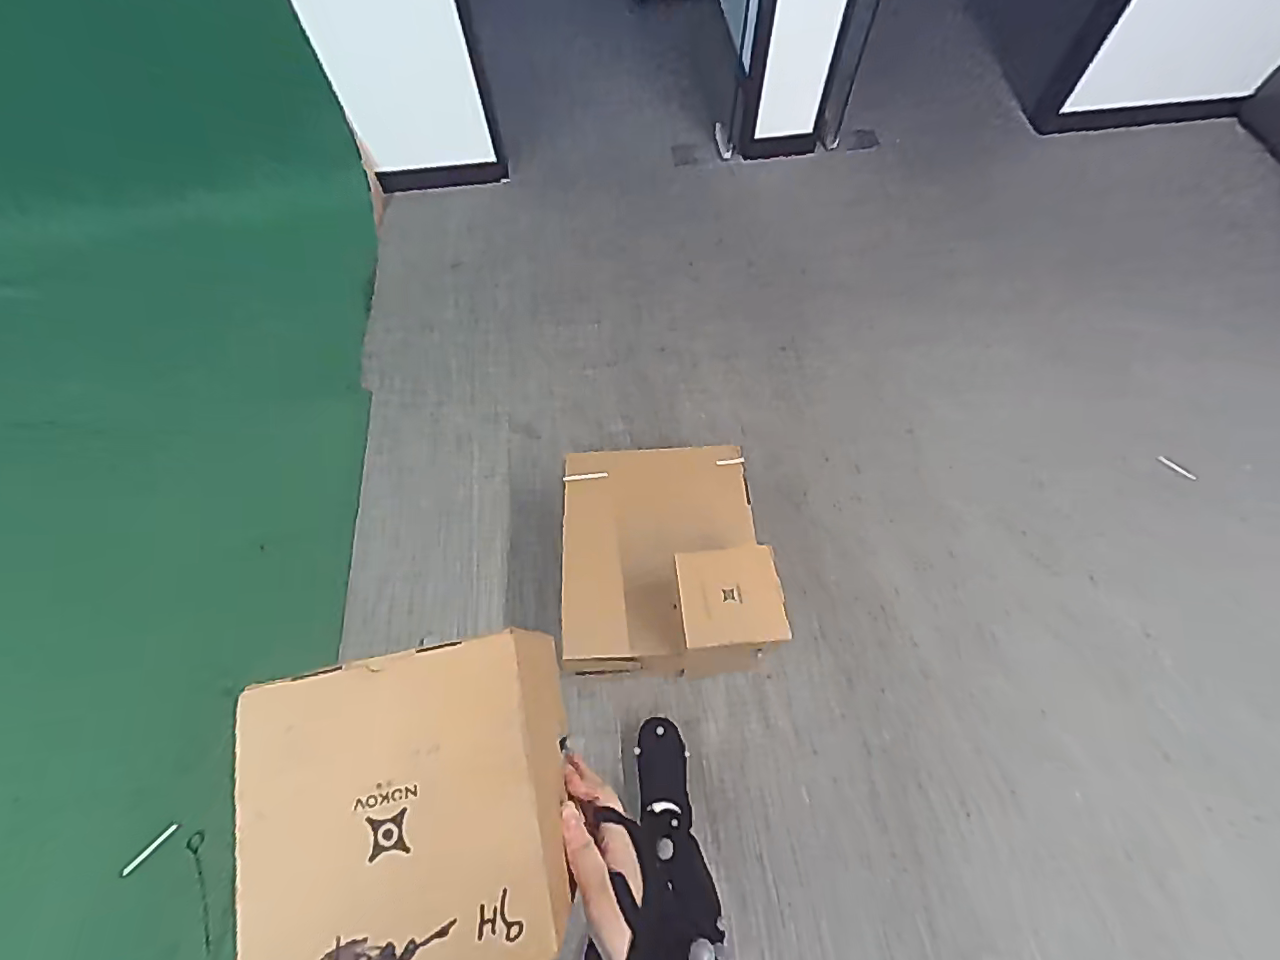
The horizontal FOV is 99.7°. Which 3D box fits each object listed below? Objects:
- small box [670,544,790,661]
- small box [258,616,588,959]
[{"bbox_3d":[0.152,0.227,0.981,0.179,0.176,0.168,-5,63,-2],"label":"small box"},{"bbox_3d":[-0.135,0.208,0.387,0.168,0.176,0.179,-12,72,-5],"label":"small box"}]
